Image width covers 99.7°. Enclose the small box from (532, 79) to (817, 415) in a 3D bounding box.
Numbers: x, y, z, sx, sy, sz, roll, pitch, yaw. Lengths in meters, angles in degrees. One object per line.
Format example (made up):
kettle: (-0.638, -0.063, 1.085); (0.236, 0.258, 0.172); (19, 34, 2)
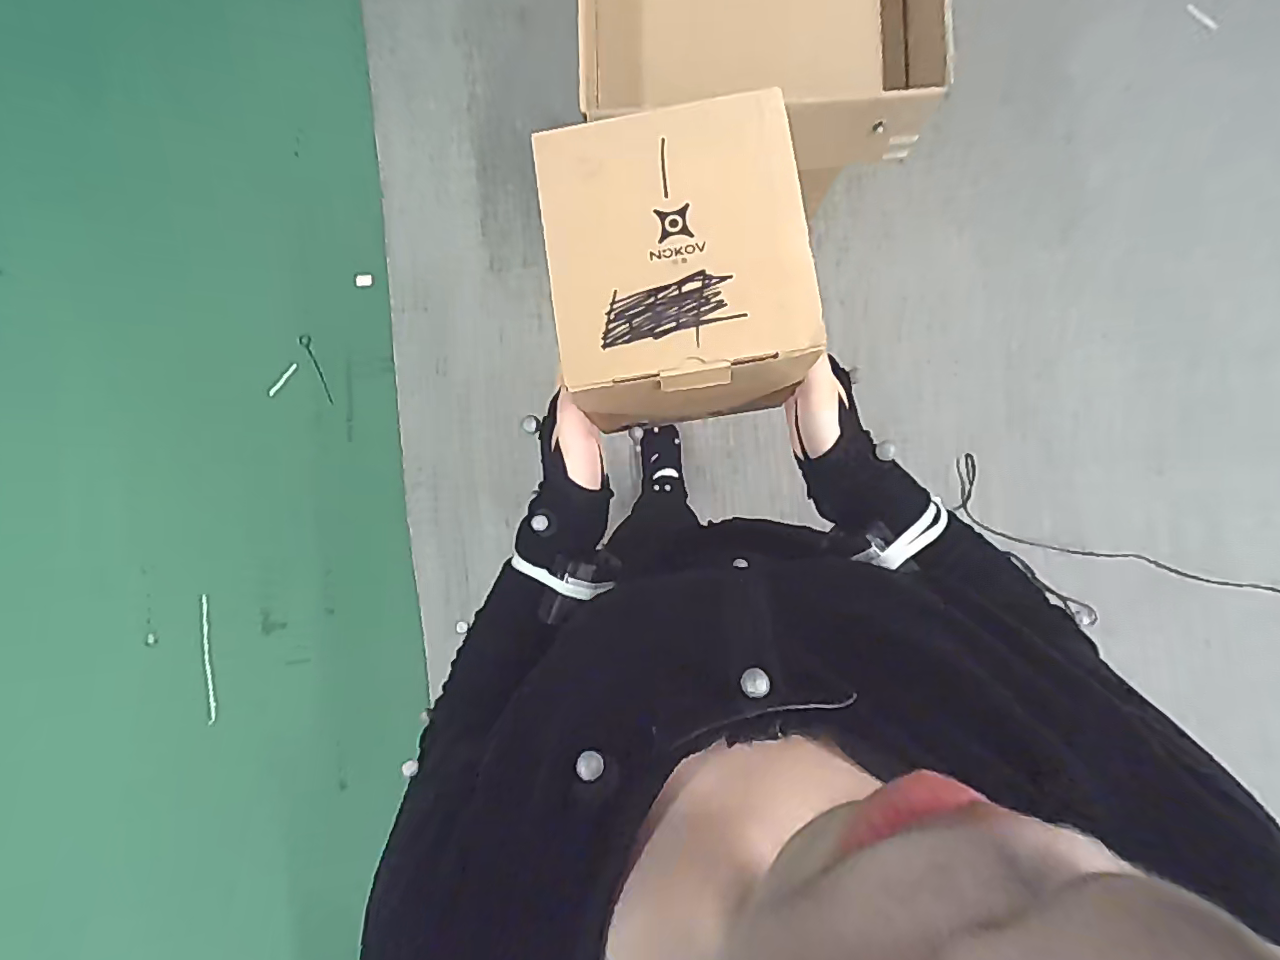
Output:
small box: (0.025, -0.154, 0.422); (0.168, 0.176, 0.179); (-8, 84, 3)
